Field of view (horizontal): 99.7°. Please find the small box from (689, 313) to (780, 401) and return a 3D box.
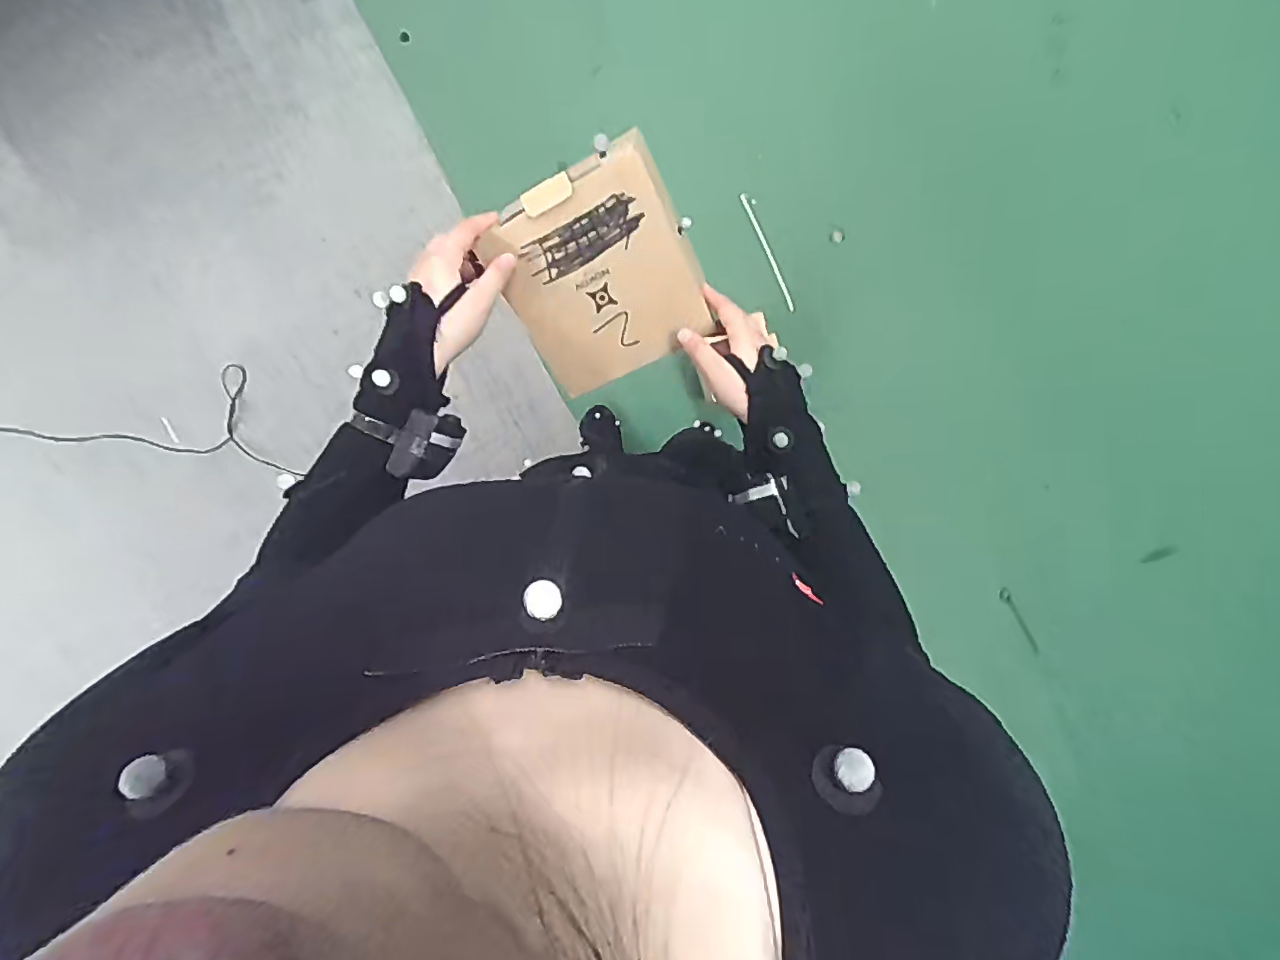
[{"bbox_3d":[0.228,-0.301,1.360,0.179,0.176,0.168,-19,99,3],"label":"small box"}]
